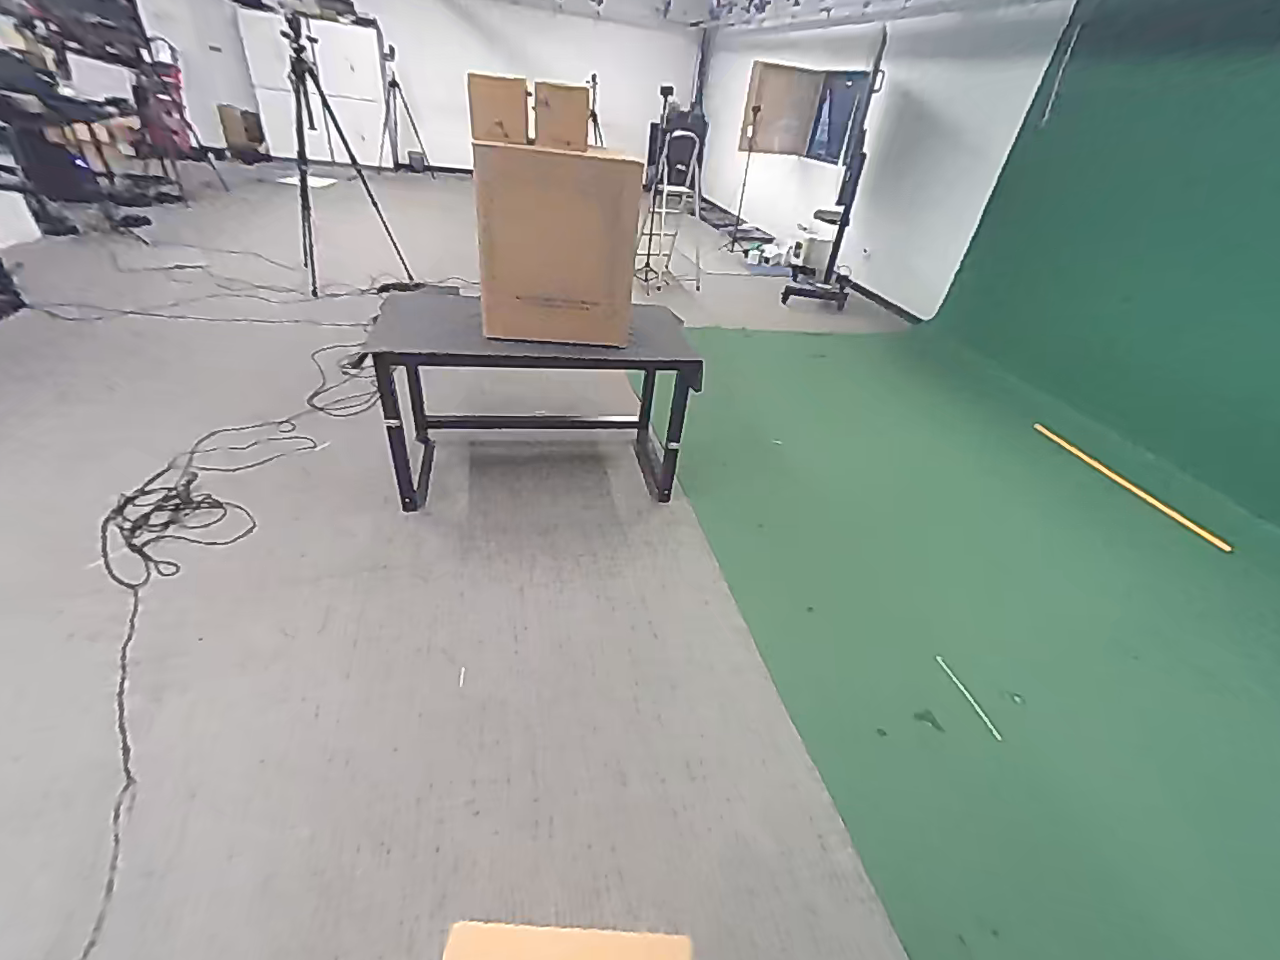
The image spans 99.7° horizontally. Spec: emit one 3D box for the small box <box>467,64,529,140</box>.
[{"bbox_3d":[-0.432,-1.168,1.671,0.168,0.176,0.179,0,38,-8],"label":"small box"}]
